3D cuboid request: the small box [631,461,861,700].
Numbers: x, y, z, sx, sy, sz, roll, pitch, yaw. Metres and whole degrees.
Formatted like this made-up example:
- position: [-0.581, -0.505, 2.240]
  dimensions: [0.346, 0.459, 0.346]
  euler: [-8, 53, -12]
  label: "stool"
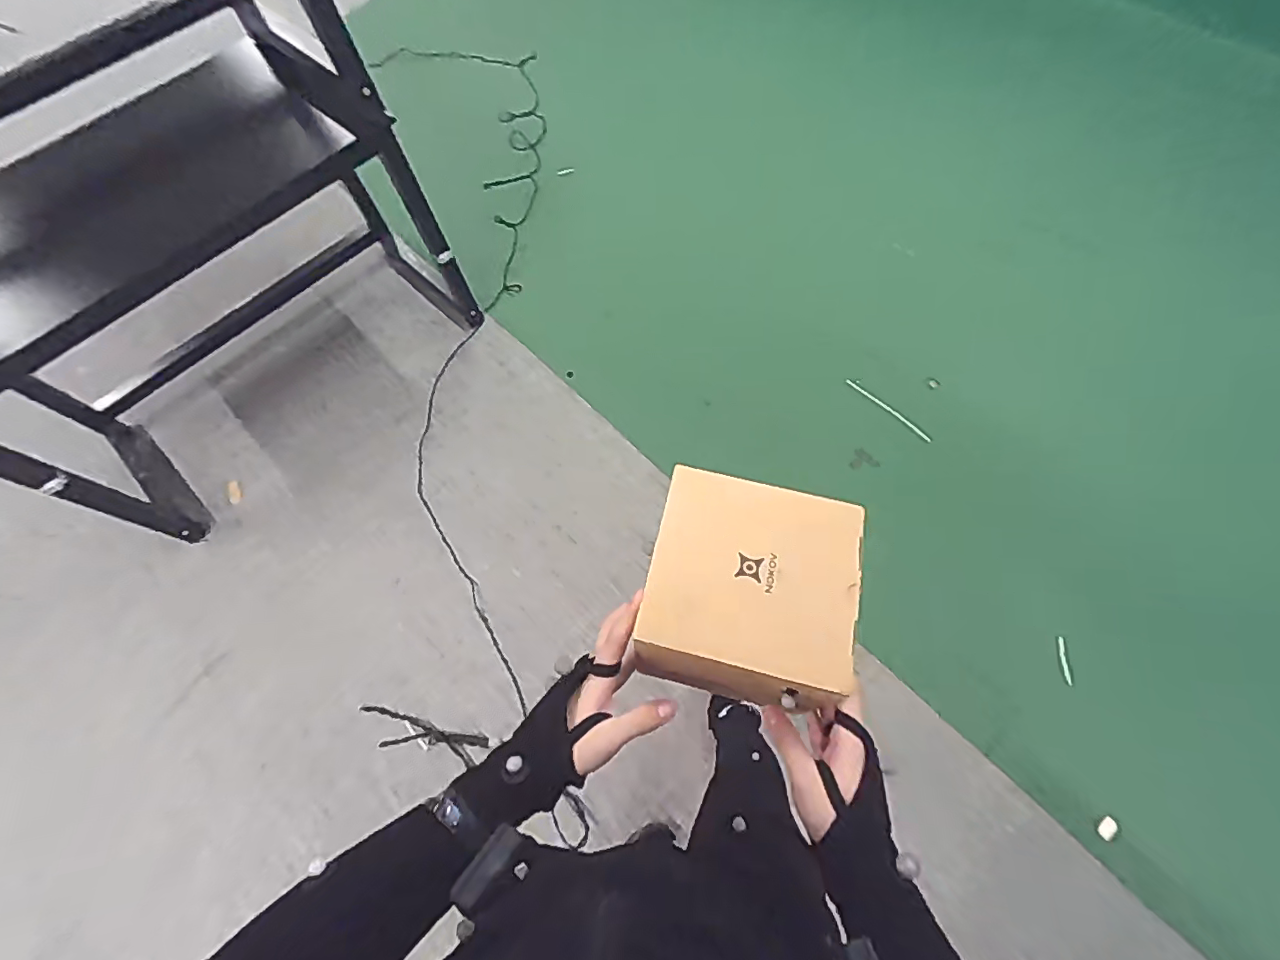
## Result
- position: [0.095, 0.106, 0.529]
  dimensions: [0.179, 0.176, 0.168]
  euler: [13, 63, 6]
  label: "small box"
